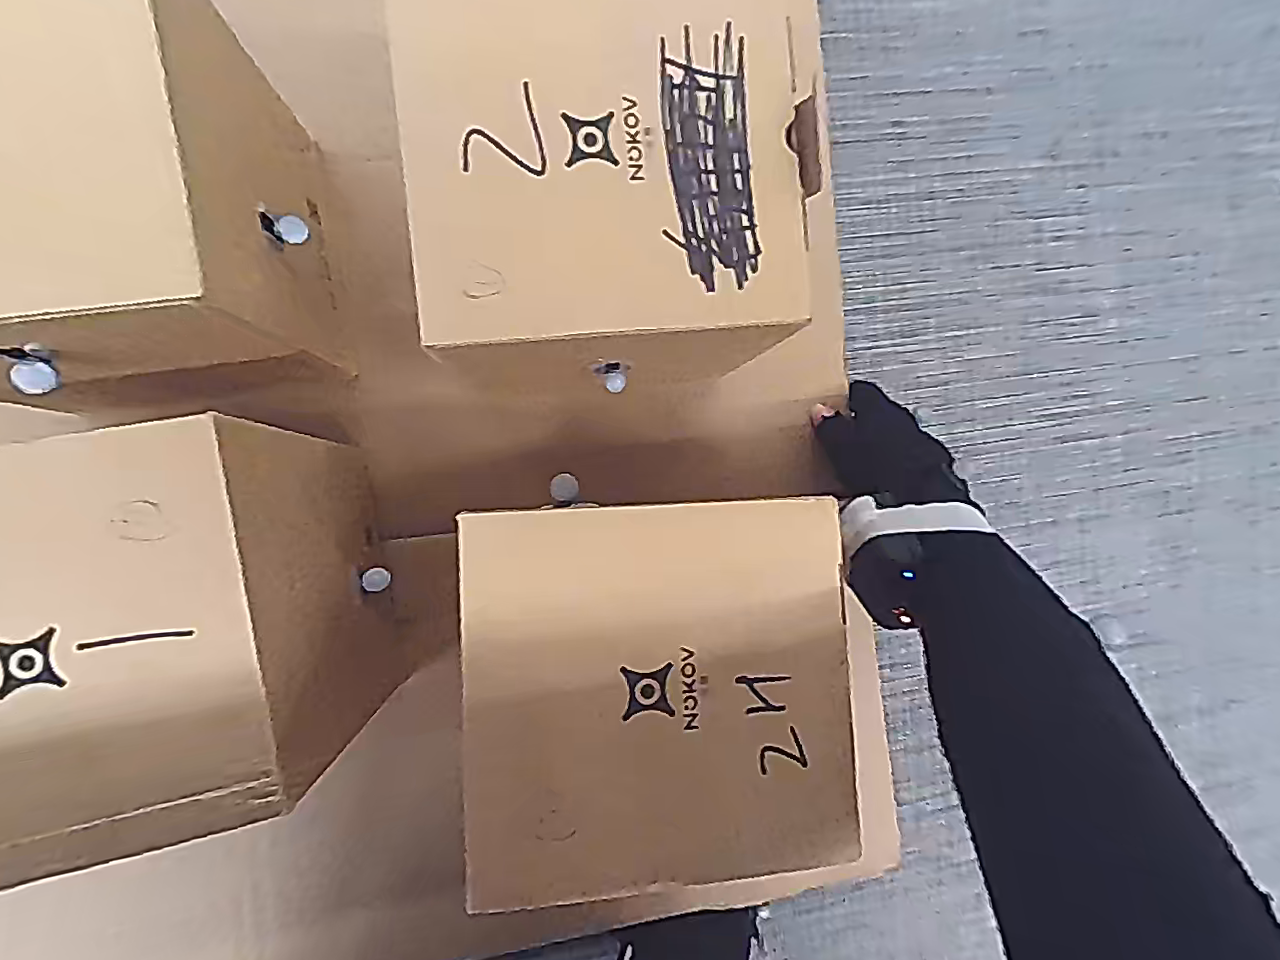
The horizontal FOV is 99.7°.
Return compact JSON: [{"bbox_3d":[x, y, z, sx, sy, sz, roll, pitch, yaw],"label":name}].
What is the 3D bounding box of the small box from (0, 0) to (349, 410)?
[{"bbox_3d":[-0.280,-0.138,0.289,0.179,0.176,0.168,-10,91,-7],"label":"small box"}]
